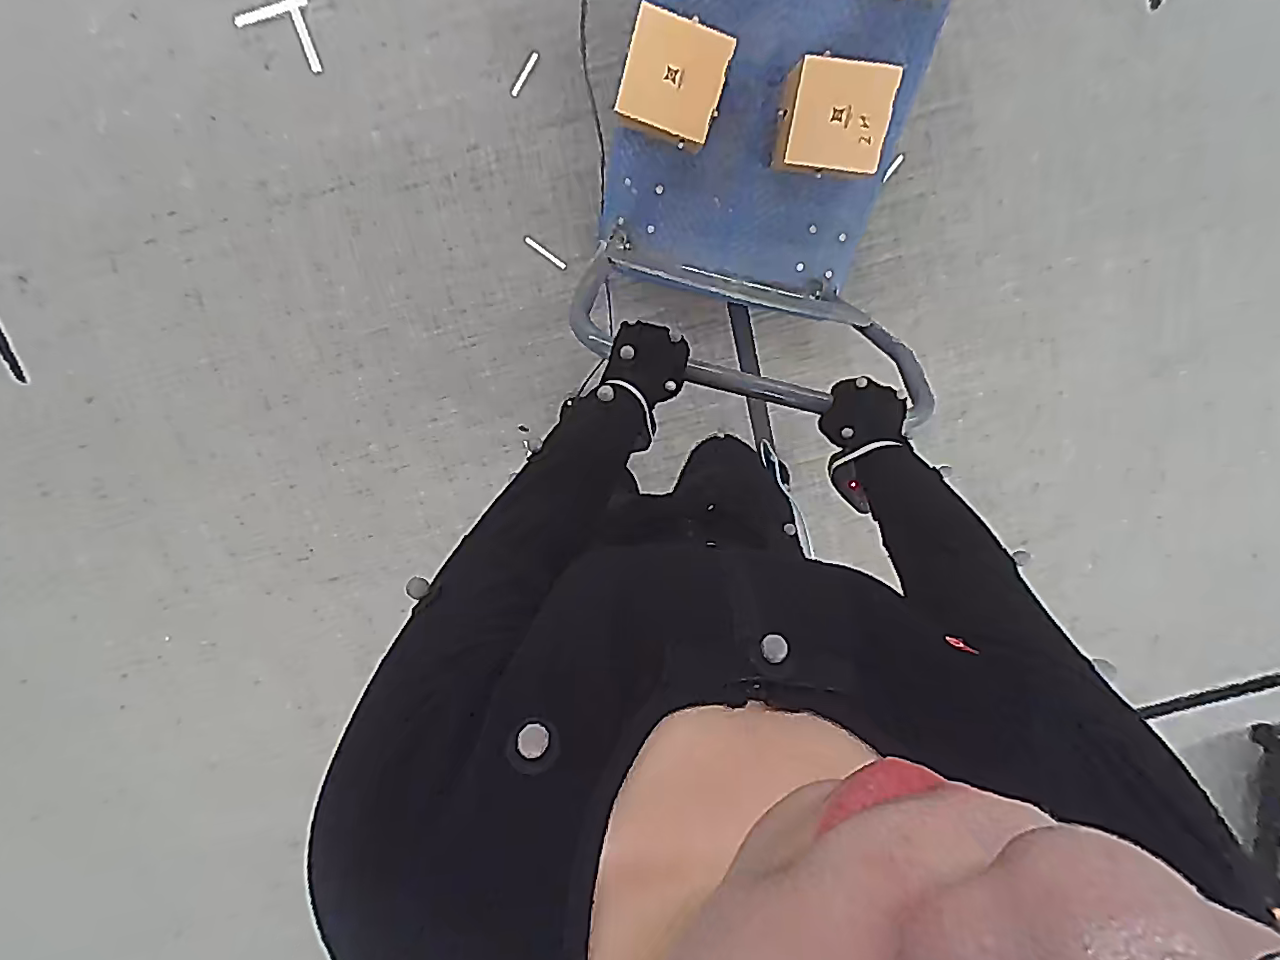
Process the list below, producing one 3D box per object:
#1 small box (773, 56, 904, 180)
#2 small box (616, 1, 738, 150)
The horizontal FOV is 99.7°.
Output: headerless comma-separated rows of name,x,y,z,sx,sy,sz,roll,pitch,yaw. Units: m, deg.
small box,0.365,-0.684,1.040,0.179,0.176,0.168,8,117,0
small box,0.064,-0.749,1.025,0.179,0.176,0.168,17,116,-7
